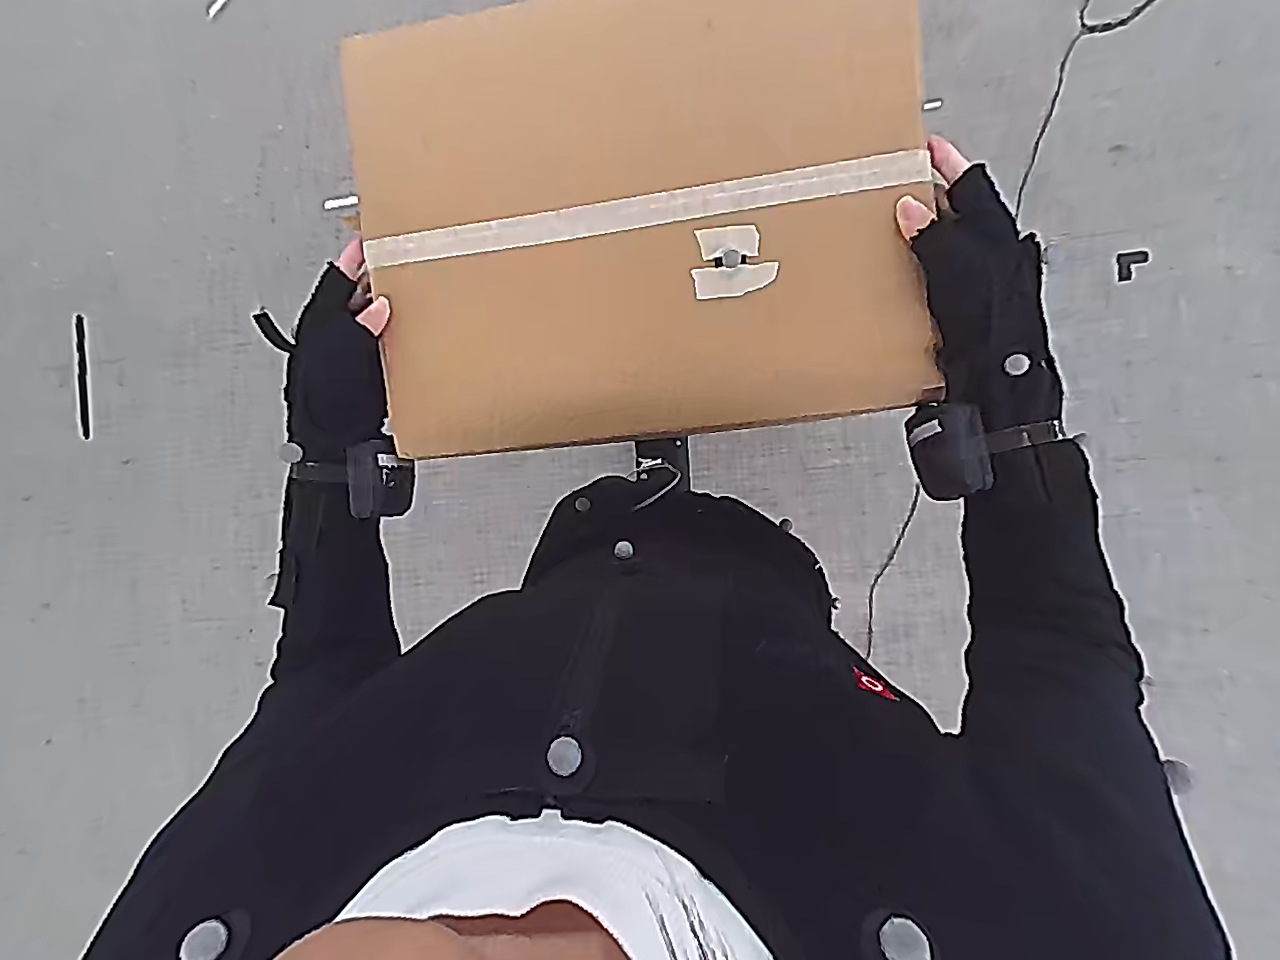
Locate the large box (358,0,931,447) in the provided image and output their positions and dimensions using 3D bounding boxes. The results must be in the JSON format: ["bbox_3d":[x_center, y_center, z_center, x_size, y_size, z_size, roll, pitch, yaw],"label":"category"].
[{"bbox_3d":[0.010,-0.212,0.548,0.408,0.320,0.320,-6,95,6],"label":"large box"}]
